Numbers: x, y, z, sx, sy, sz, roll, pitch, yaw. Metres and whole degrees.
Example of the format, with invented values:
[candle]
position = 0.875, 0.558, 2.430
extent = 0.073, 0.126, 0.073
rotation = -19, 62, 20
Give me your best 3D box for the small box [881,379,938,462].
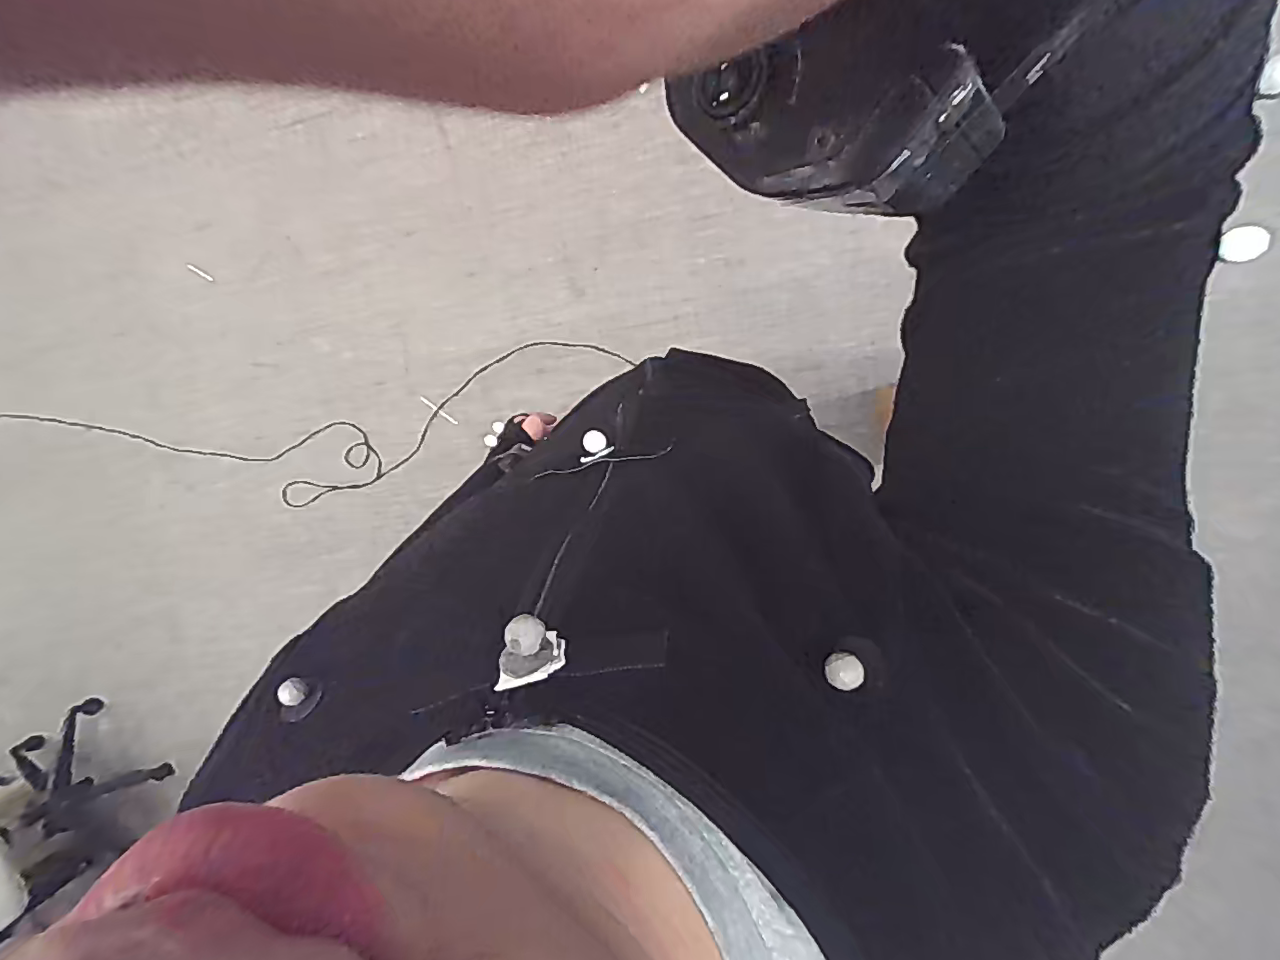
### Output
[small box]
position = 0.718, -0.154, 1.345
extent = 0.168, 0.176, 0.179
rotation = -12, 96, 11
